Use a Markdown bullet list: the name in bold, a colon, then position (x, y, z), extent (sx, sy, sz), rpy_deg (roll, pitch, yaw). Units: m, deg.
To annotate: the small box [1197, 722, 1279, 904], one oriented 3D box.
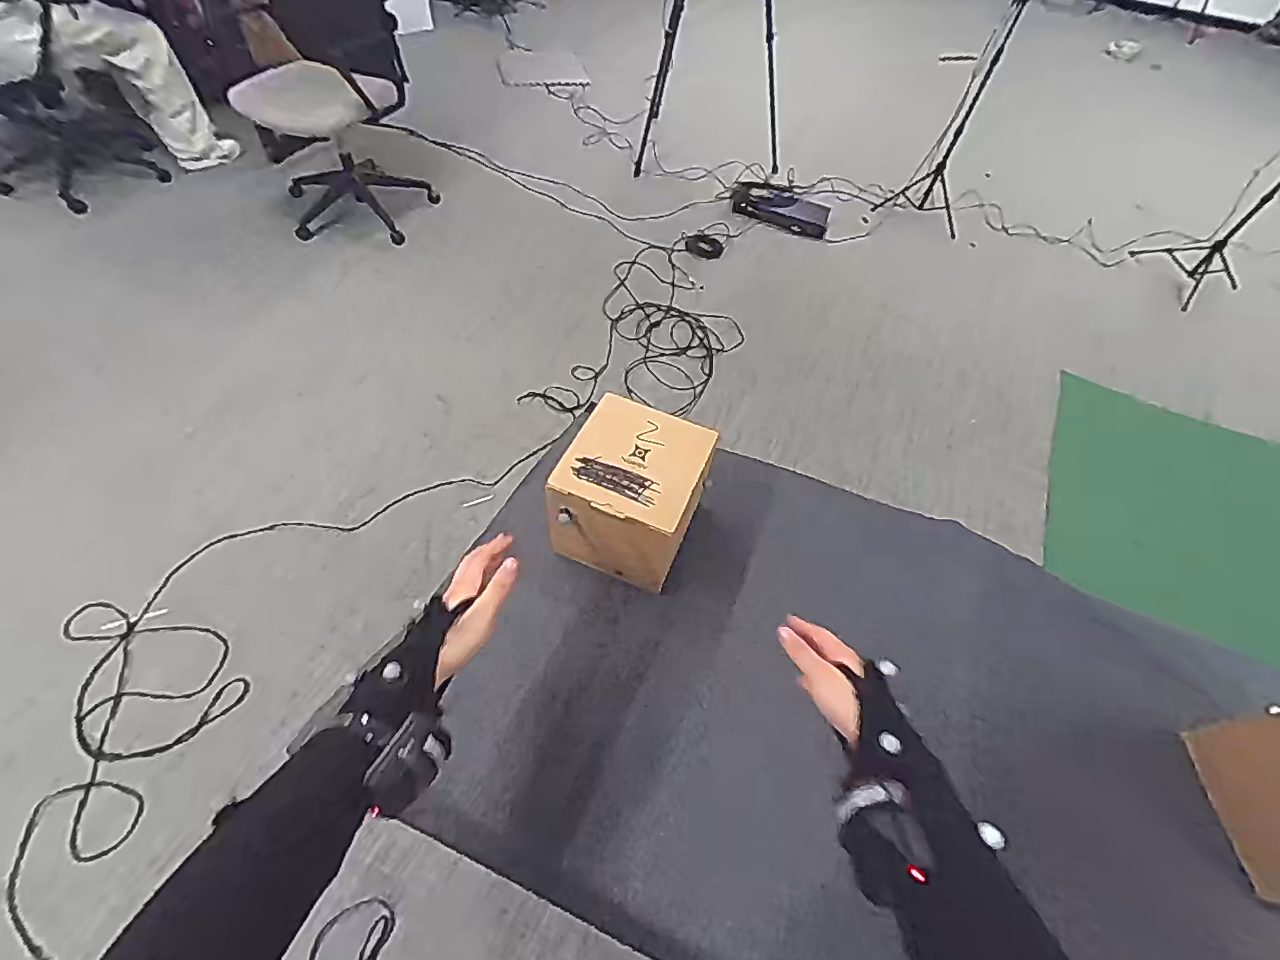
- **small box**: position (0.769, 0.354, 0.568), extent (0.168, 0.176, 0.179), rpy_deg (4, 56, 1)
